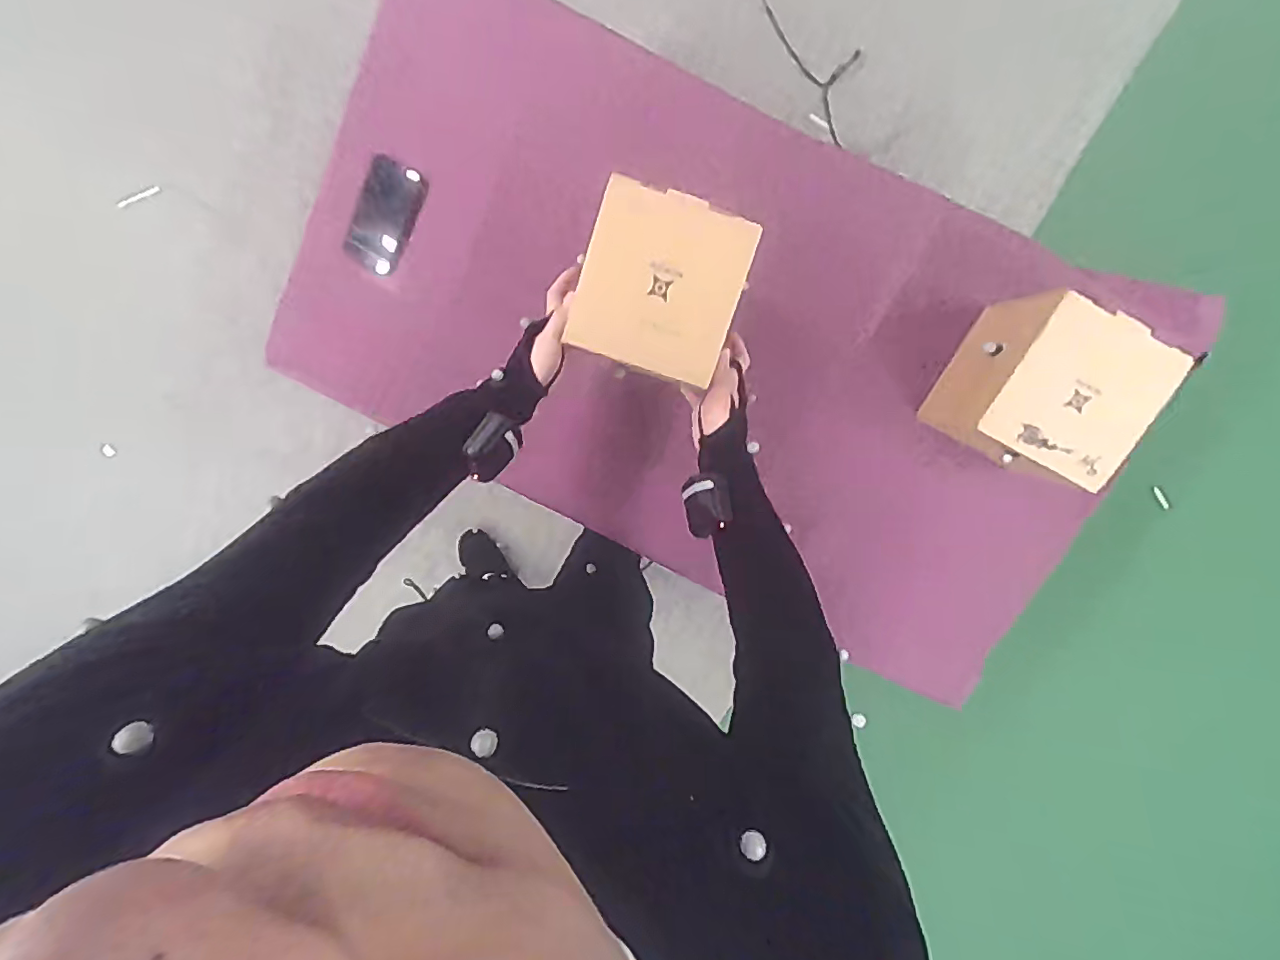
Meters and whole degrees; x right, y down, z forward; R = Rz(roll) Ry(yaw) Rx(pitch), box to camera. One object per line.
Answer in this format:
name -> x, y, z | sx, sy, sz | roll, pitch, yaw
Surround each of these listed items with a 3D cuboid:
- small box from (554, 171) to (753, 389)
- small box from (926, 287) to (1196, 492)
small box -> 0.011, -0.215, 0.630 | 0.168, 0.176, 0.179 | 17, 100, -3
small box -> 0.502, -0.113, 0.681 | 0.168, 0.176, 0.179 | 29, 102, -1
